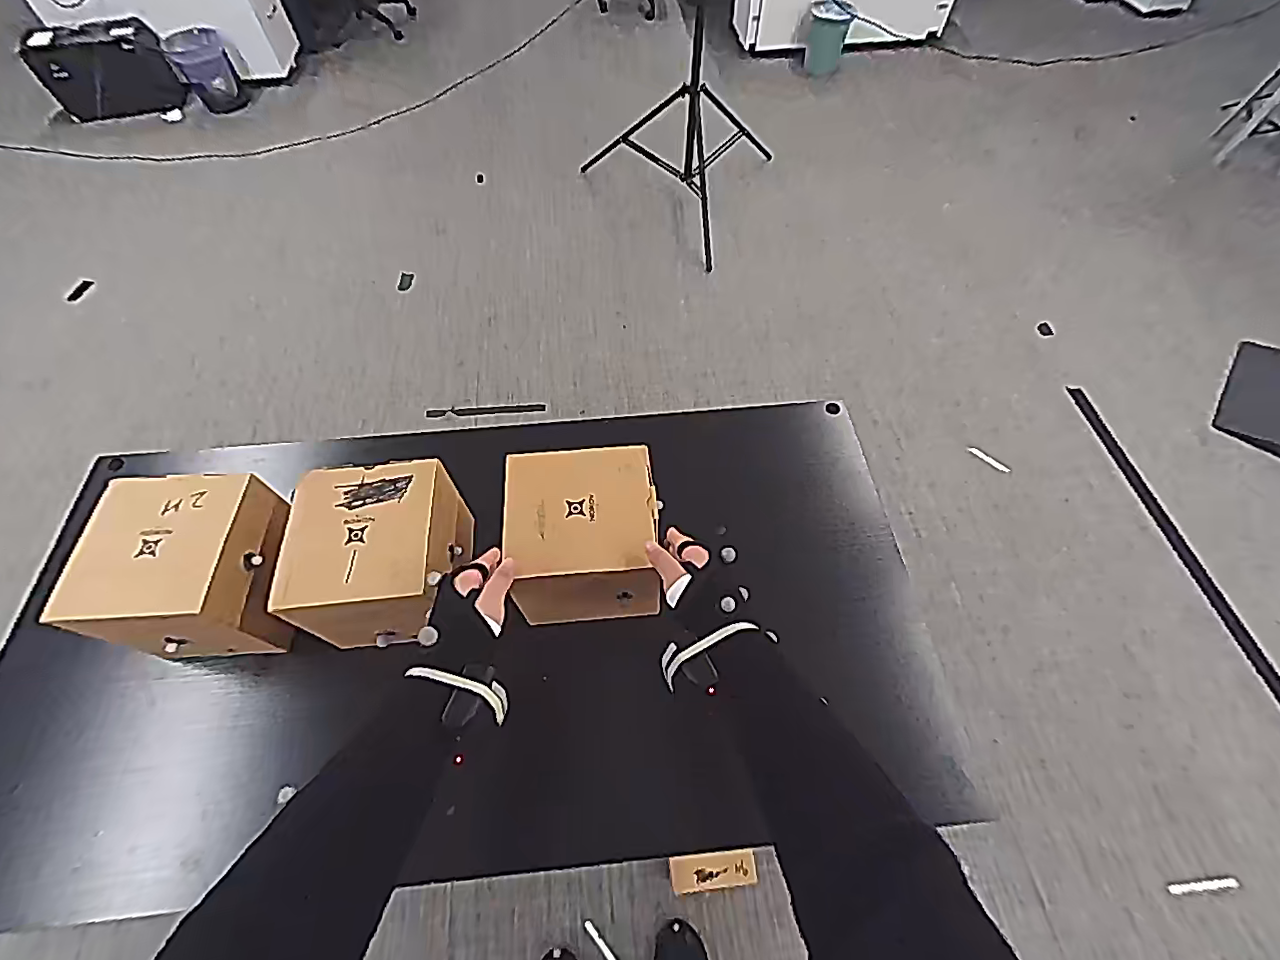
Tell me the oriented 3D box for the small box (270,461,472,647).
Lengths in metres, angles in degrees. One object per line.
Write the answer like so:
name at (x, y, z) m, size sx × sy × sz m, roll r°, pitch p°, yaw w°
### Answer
small box at (-0.317, 0.097, 0.683) m, size 0.168 × 0.176 × 0.179 m, roll -5°, pitch 60°, yaw -3°

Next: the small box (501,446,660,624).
small box at (-0.070, 0.075, 0.696) m, size 0.179 × 0.176 × 0.168 m, roll -6°, pitch 58°, yaw -1°

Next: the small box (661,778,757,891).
small box at (0.136, 0.741, 1.138) m, size 0.168 × 0.176 × 0.179 m, roll -6°, pitch 58°, yaw -2°

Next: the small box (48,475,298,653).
small box at (-0.542, 0.113, 0.676) m, size 0.168 × 0.176 × 0.179 m, roll -2°, pitch 59°, yaw -2°
